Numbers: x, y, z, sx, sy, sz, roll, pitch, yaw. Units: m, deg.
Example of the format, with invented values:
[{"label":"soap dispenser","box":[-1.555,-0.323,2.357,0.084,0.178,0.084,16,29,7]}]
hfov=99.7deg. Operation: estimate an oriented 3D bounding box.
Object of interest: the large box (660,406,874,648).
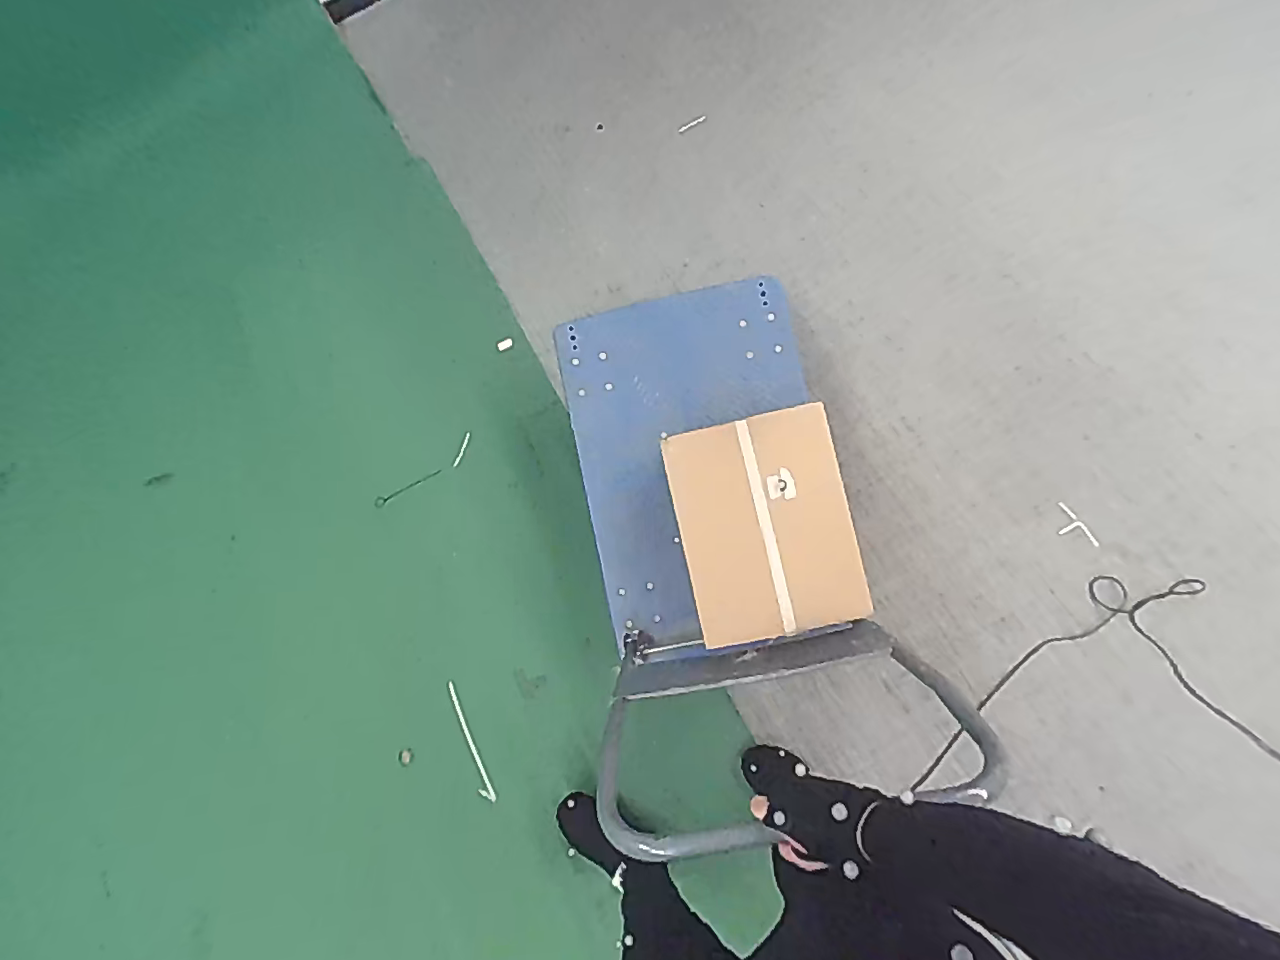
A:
[{"label":"large box","box":[0.247,0.098,1.158,0.320,0.320,0.408,-14,85,3]}]
